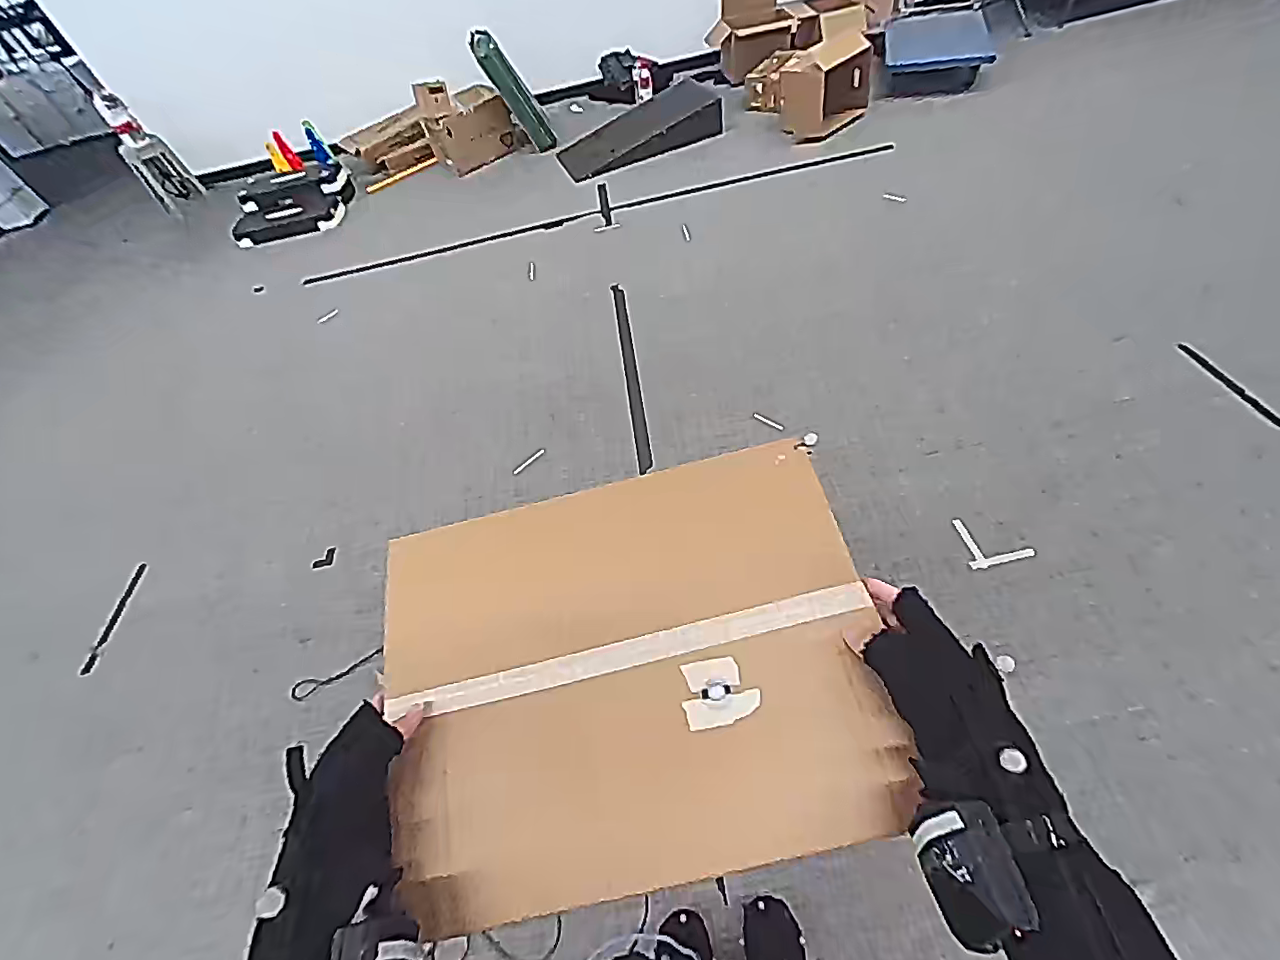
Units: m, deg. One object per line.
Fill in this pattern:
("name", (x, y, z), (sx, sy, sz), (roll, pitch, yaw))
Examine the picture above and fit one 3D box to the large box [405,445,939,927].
("large box", (0.011, 0.212, 0.587), (0.408, 0.320, 0.320), (-14, 62, 1))
